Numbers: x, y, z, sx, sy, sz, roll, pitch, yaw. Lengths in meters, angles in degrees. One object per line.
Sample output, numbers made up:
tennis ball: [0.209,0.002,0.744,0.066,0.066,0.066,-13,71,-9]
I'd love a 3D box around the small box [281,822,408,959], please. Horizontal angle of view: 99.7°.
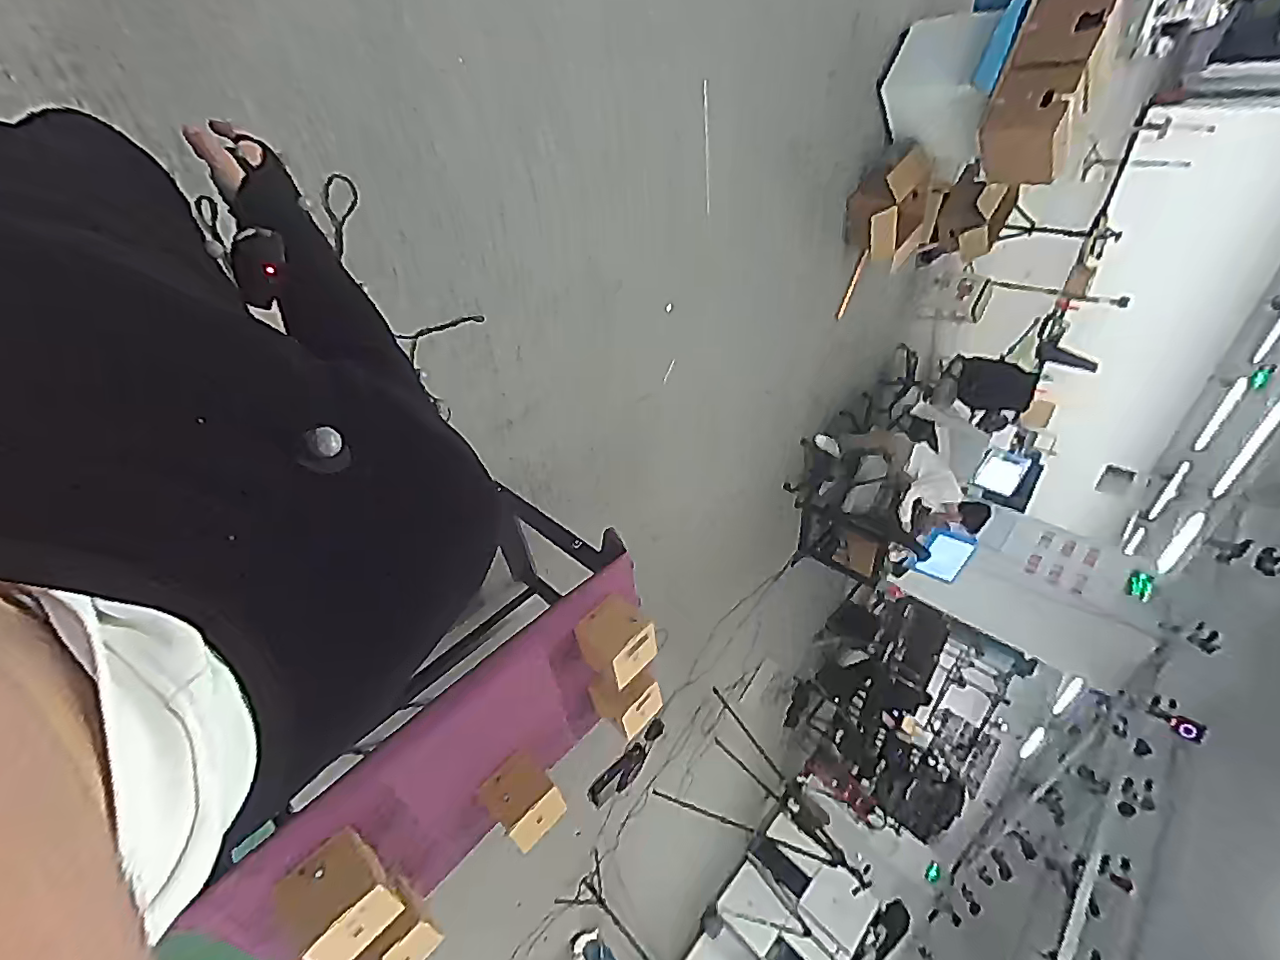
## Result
small box: [-0.654,0.909,1.201,0.168,0.176,0.179,-35,137,-33]

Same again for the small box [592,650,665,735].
small box: [-0.039,0.698,1.800,0.168,0.176,0.179,-37,138,-28]

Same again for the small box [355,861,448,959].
small box: [-0.628,1.124,1.380,0.168,0.176,0.179,-36,136,-30]

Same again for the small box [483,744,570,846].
small box: [-0.337,0.921,1.596,0.168,0.176,0.179,-36,137,-29]
